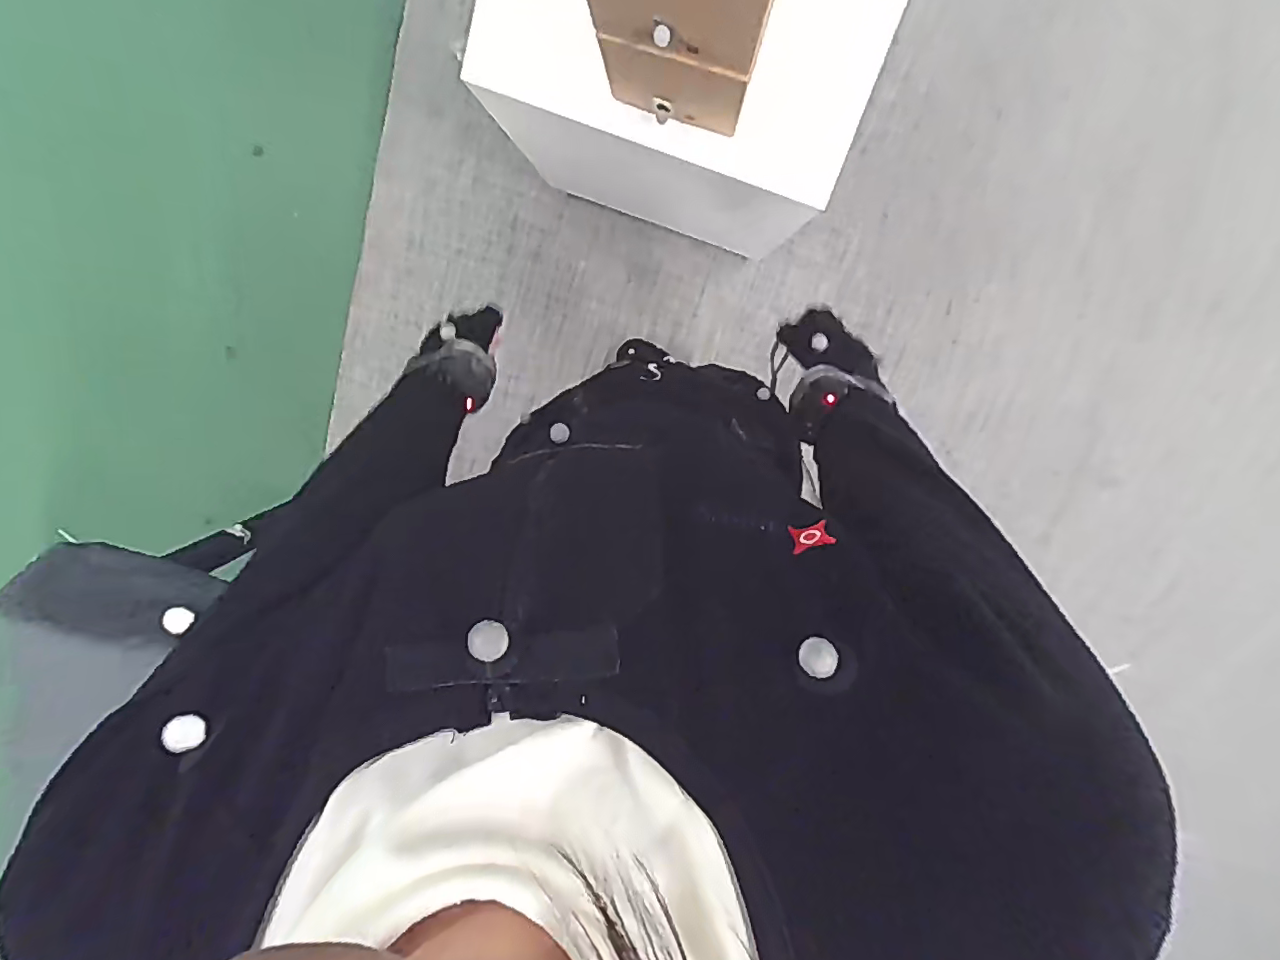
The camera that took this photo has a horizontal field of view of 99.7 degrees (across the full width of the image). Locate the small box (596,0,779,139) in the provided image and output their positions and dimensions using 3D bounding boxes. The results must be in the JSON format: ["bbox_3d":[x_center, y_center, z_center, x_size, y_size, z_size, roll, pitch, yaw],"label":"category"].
[{"bbox_3d":[0.063,-0.518,0.597,0.168,0.176,0.179,17,107,1],"label":"small box"}]

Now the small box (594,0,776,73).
[{"bbox_3d":[0.049,-0.483,0.438,0.168,0.176,0.179,14,104,1],"label":"small box"}]
